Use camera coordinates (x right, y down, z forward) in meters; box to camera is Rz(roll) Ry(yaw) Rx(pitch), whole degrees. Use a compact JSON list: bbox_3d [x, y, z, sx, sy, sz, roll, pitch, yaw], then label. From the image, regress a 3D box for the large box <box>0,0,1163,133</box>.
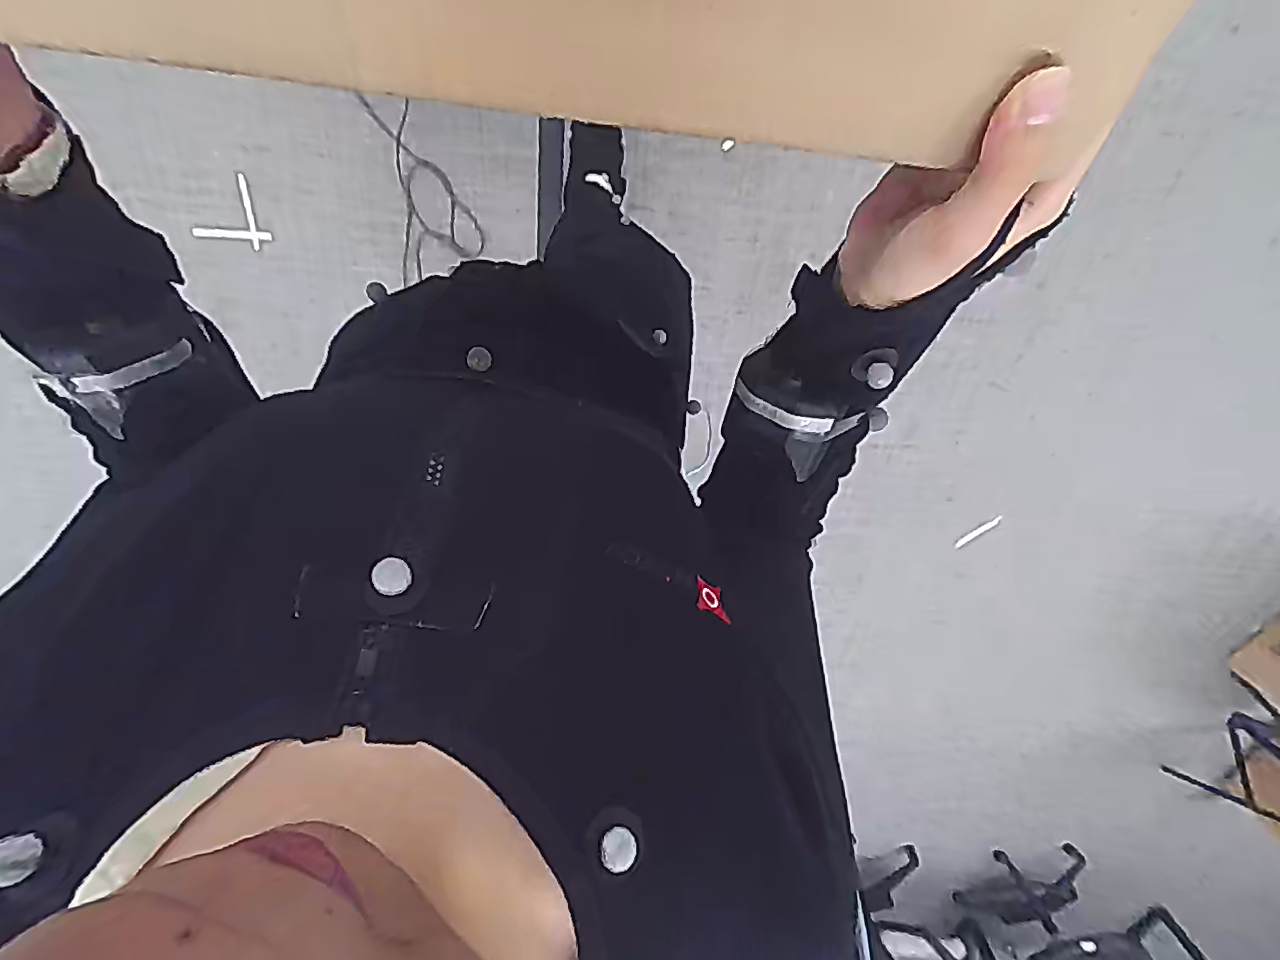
[{"bbox_3d":[-0.030,-0.341,0.140,0.408,0.320,0.320,2,145,-7],"label":"large box"}]
